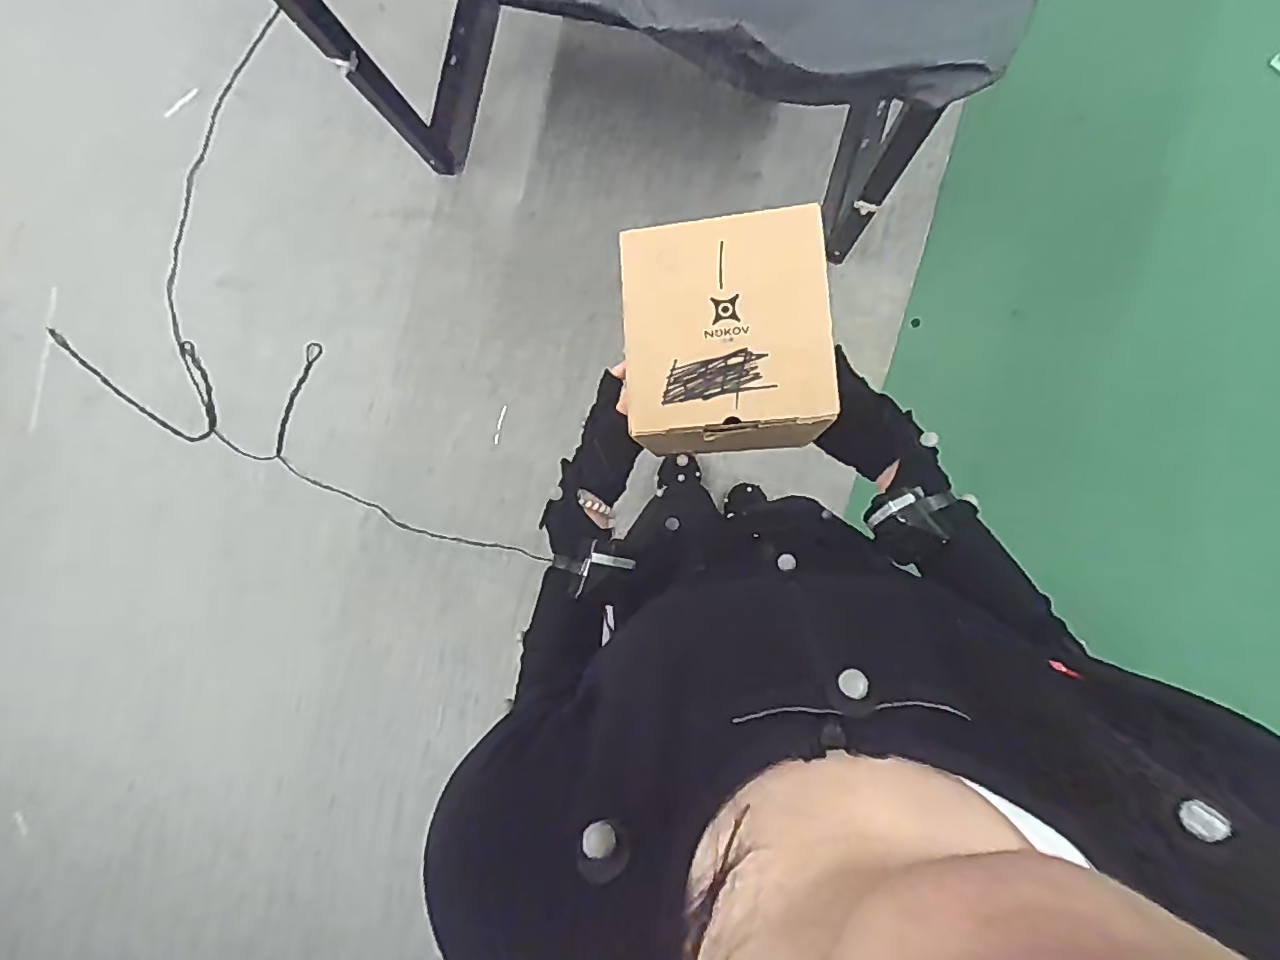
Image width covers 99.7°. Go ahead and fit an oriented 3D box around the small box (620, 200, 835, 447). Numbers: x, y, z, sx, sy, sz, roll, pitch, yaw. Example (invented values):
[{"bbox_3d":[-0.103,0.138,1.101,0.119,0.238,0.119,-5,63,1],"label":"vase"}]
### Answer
[{"bbox_3d":[0.080,-0.126,0.513,0.168,0.176,0.179,-4,85,8],"label":"small box"}]
